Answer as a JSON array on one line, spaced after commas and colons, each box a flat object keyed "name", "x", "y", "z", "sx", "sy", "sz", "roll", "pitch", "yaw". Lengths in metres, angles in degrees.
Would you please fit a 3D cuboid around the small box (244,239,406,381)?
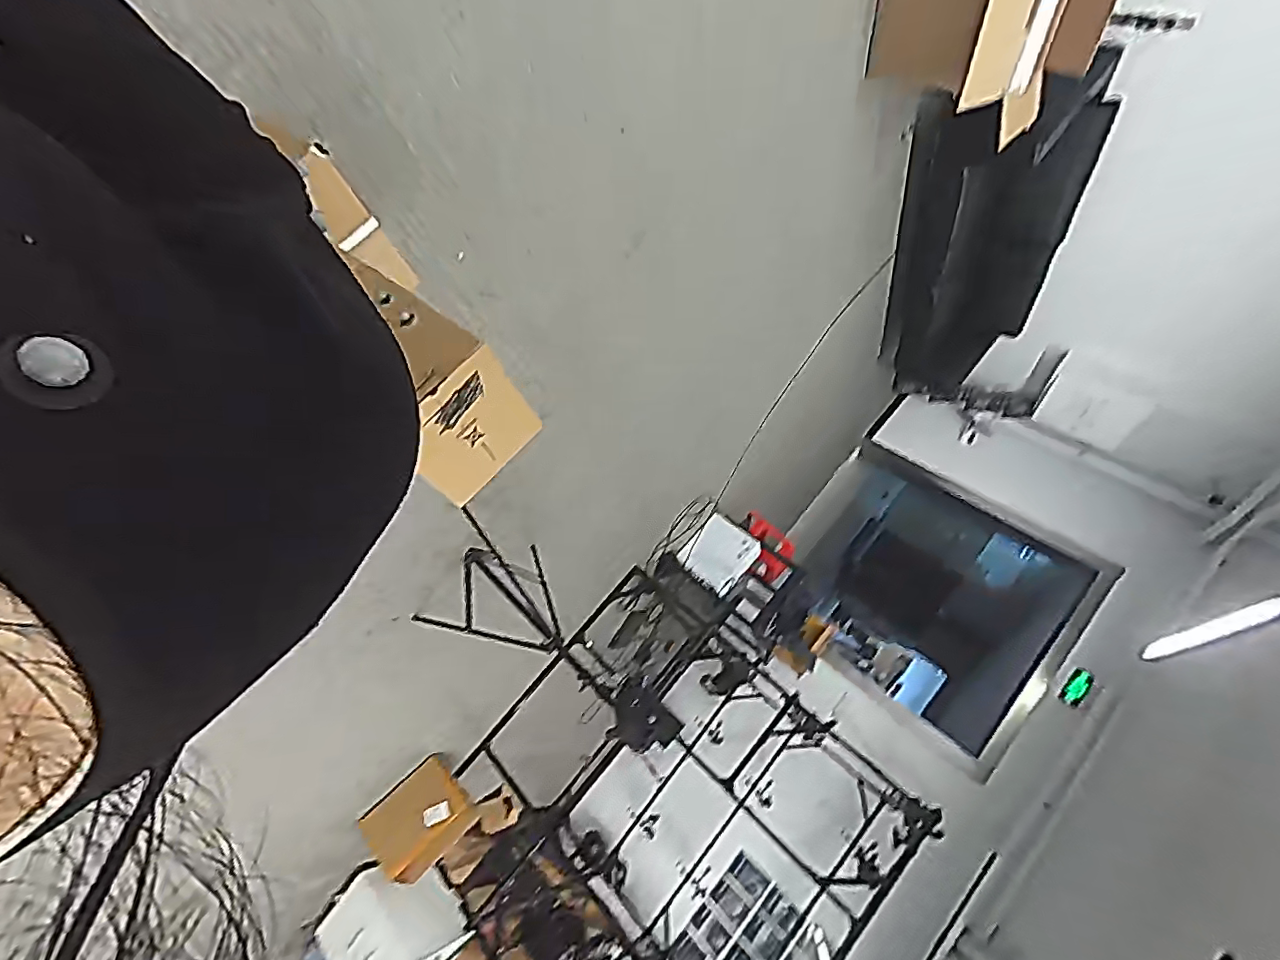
[{"name": "small box", "x": -0.502, "y": -0.266, "z": 0.902, "sx": 0.168, "sy": 0.176, "sz": 0.179, "roll": -48, "pitch": 148, "yaw": -11}]

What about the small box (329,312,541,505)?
[{"name": "small box", "x": -0.274, "y": -0.103, "z": 0.732, "sx": 0.168, "sy": 0.176, "sz": 0.179, "roll": -47, "pitch": 149, "yaw": -12}]
